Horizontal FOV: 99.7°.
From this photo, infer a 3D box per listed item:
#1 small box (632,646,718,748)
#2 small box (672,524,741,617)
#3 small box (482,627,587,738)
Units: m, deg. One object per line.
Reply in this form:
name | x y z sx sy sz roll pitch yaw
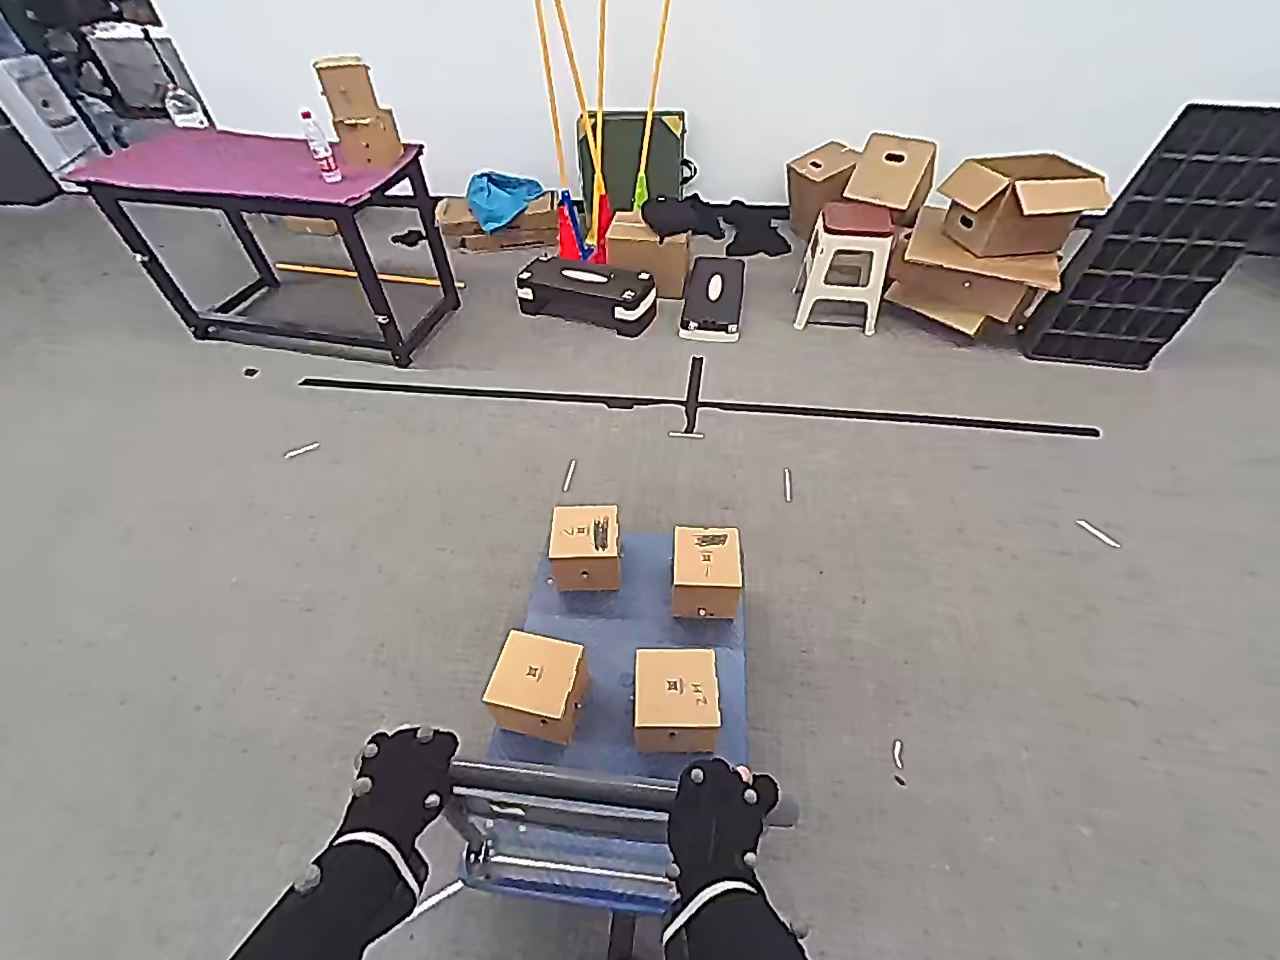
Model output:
small box | 0.076 0.481 1.191 0.179 0.176 0.168 0 49 2
small box | 0.169 0.236 1.406 0.168 0.176 0.179 2 49 4
small box | -0.227 0.459 1.219 0.179 0.176 0.168 10 49 8
